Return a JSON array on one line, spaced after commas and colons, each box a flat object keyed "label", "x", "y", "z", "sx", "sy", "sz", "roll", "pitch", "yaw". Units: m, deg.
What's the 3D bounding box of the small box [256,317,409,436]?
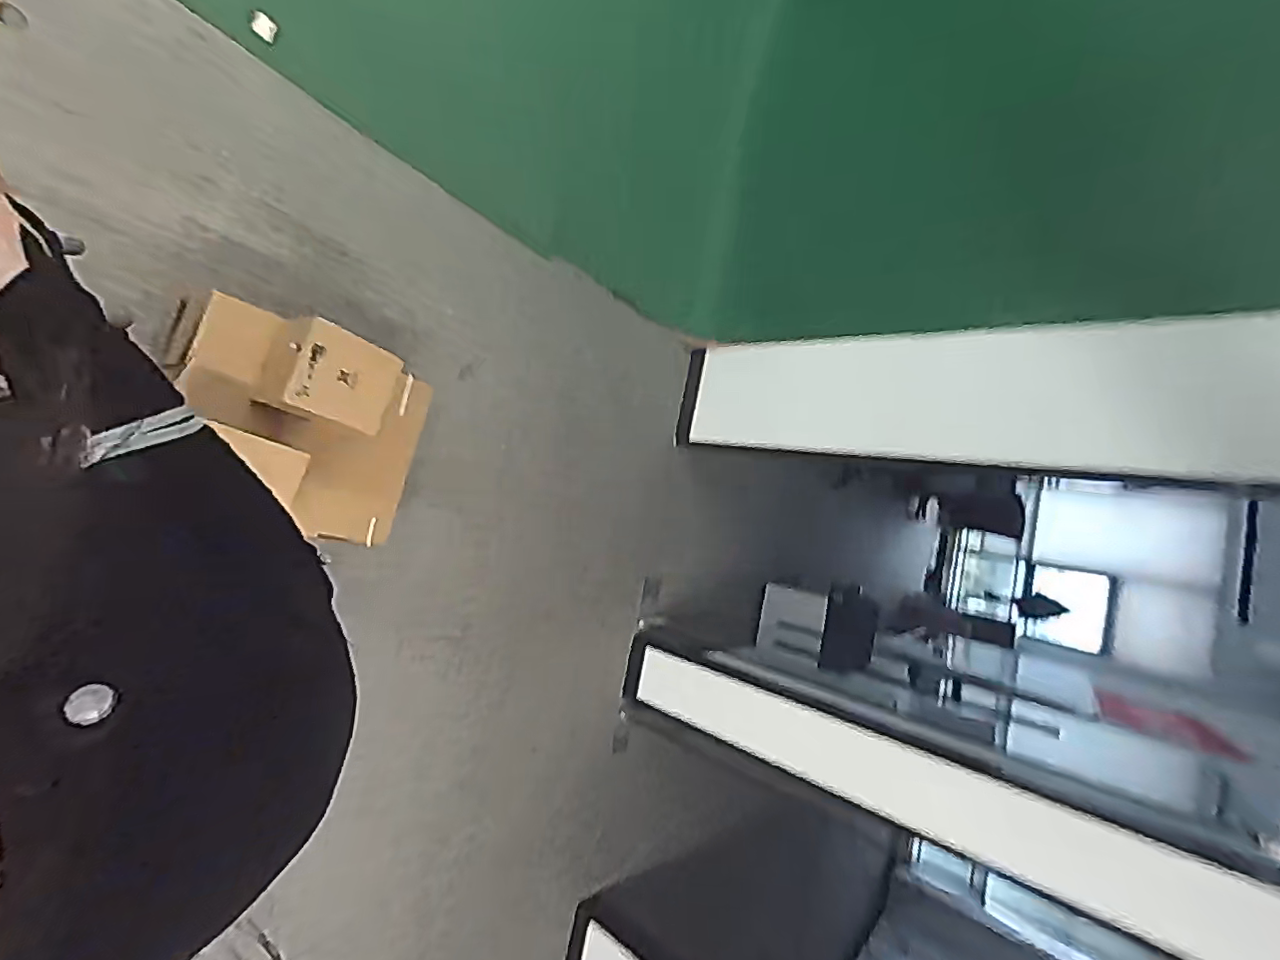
[{"label": "small box", "x": -0.597, "y": -0.198, "z": 1.053, "sx": 0.179, "sy": 0.176, "sz": 0.168, "roll": 29, "pitch": 73, "yaw": -51}]

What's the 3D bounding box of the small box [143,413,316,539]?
[{"label": "small box", "x": -0.715, "y": -0.010, "z": 0.941, "sx": 0.179, "sy": 0.176, "sz": 0.168, "roll": 30, "pitch": 75, "yaw": -50}]
